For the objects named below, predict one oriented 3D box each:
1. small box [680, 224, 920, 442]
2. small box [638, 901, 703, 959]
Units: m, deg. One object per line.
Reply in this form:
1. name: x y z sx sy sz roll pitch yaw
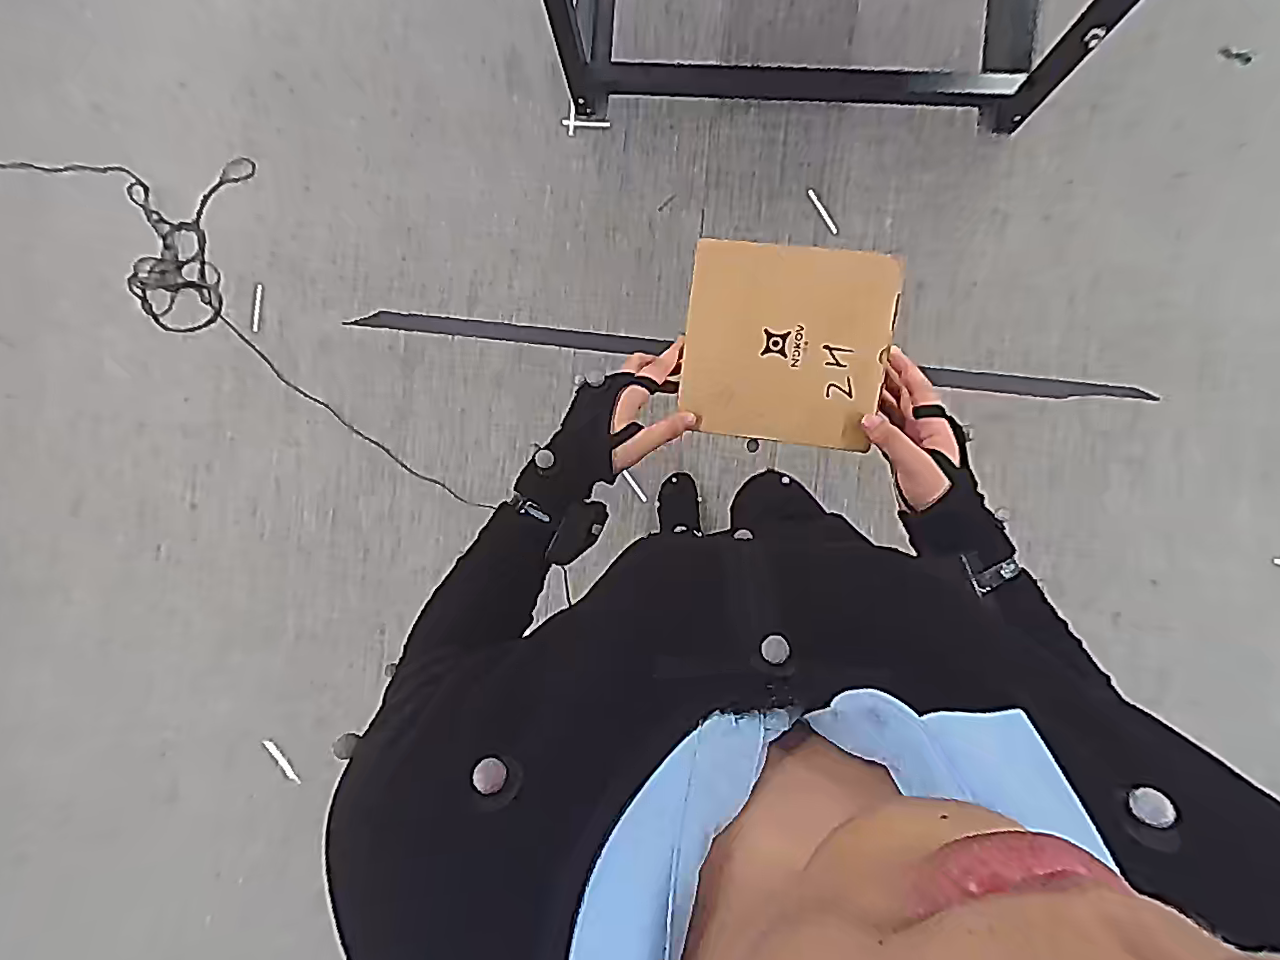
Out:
1. small box: 0.140 -0.135 0.533 0.179 0.176 0.168 8 100 5
2. small box: 0.082 1.264 1.424 0.168 0.176 0.179 0 90 4
